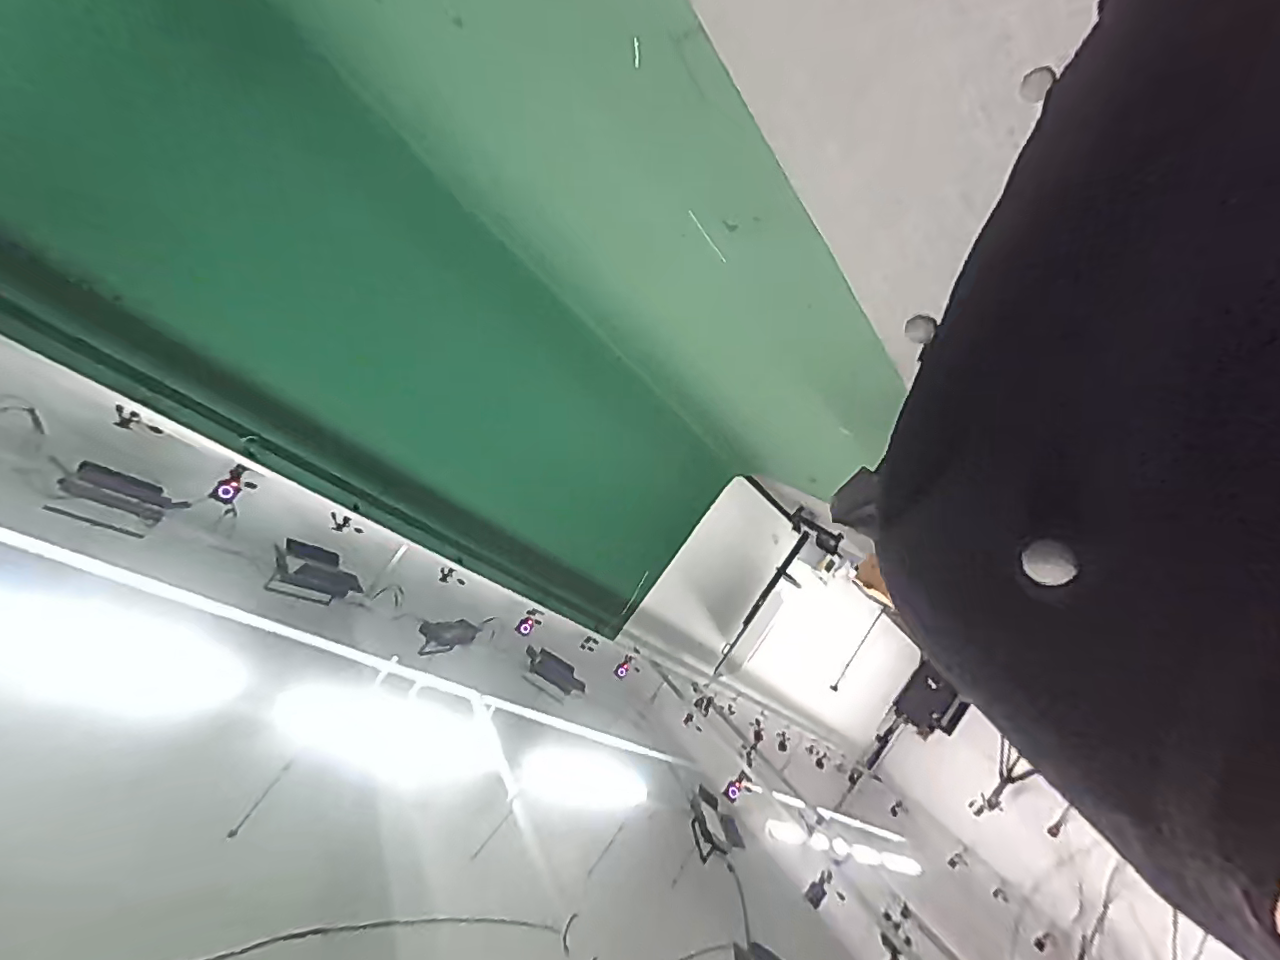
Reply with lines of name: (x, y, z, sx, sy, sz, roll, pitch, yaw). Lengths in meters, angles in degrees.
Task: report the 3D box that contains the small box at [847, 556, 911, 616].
small box: (1.042, 0.456, 2.353, 0.179, 0.176, 0.168, 38, 177, -38)
